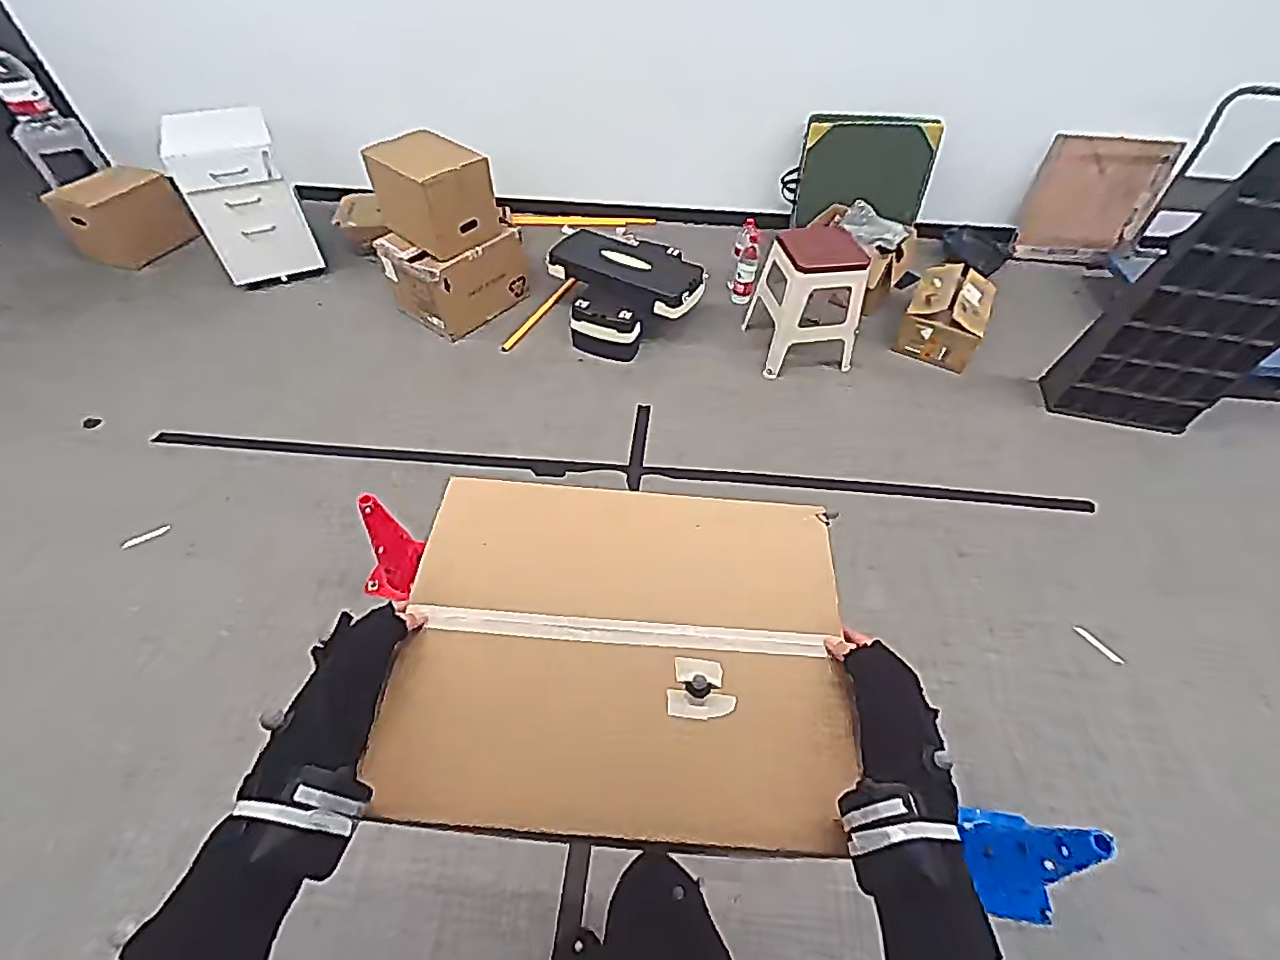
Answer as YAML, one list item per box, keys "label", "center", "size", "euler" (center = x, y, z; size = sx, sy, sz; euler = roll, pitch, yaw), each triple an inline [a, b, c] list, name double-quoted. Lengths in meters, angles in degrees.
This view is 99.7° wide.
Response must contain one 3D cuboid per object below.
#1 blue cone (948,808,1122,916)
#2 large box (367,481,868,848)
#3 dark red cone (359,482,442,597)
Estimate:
- label: "blue cone"
  center: [0.810, 0.752, 1.093]
  size: [0.192, 0.380, 0.193]
  euler: [8, 51, 4]
- label: "large box"
  center: [-0.018, 0.225, 0.627]
  size: [0.408, 0.320, 0.320]
  euler: [5, 55, 0]
- label: "dark red cone"
  center: [-0.694, 0.144, 1.494]
  size: [0.201, 0.394, 0.202]
  euler: [10, 51, 5]
